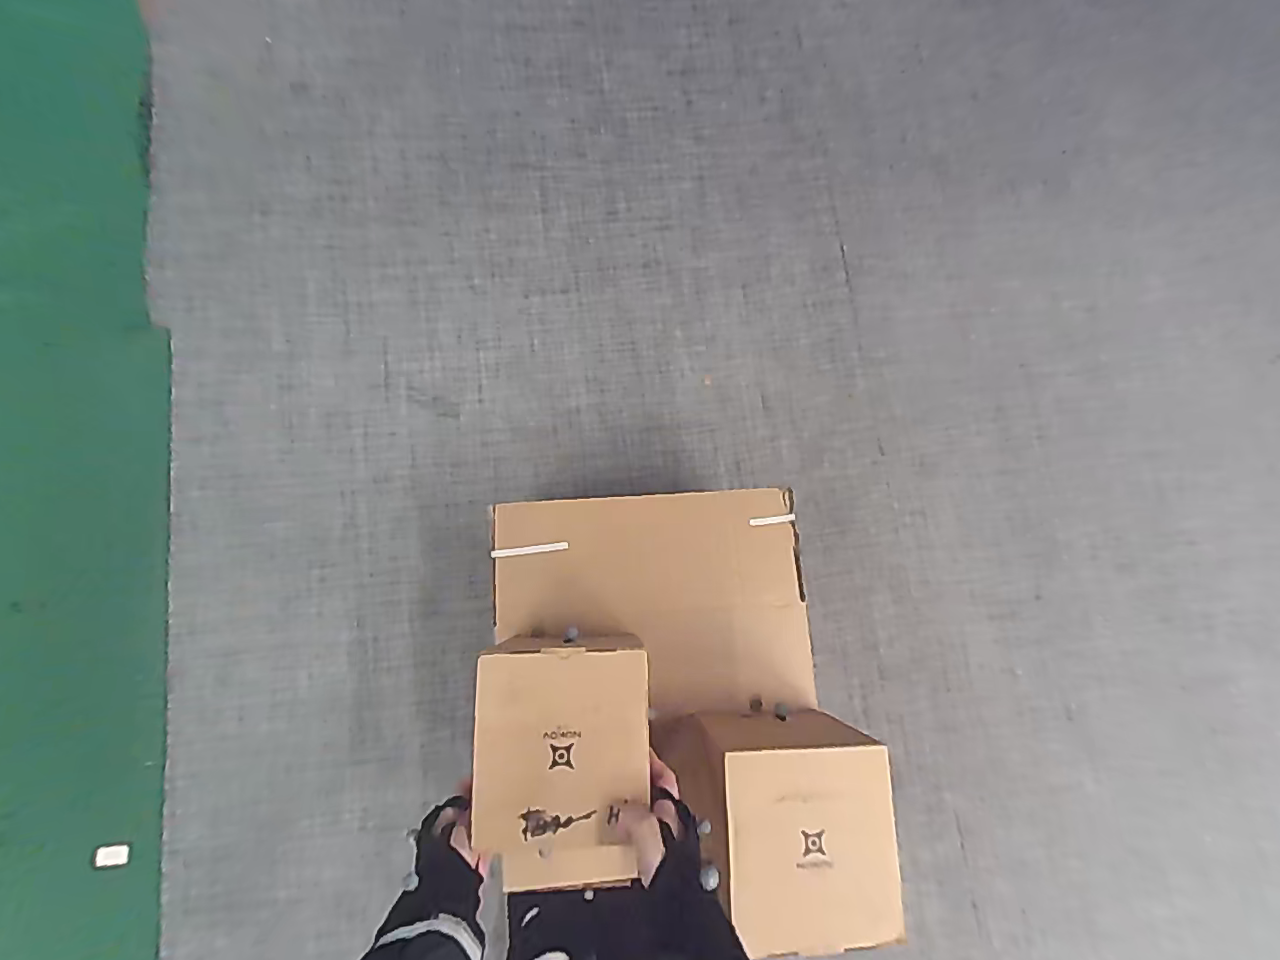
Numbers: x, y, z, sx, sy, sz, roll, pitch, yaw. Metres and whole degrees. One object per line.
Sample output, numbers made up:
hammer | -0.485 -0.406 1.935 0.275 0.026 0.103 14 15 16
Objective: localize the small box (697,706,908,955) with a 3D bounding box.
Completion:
small box | 0.158 0.355 0.582 0.168 0.176 0.179 0 78 -5

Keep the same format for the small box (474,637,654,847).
small box | -0.073 0.264 0.586 0.168 0.176 0.179 -1 77 -2
